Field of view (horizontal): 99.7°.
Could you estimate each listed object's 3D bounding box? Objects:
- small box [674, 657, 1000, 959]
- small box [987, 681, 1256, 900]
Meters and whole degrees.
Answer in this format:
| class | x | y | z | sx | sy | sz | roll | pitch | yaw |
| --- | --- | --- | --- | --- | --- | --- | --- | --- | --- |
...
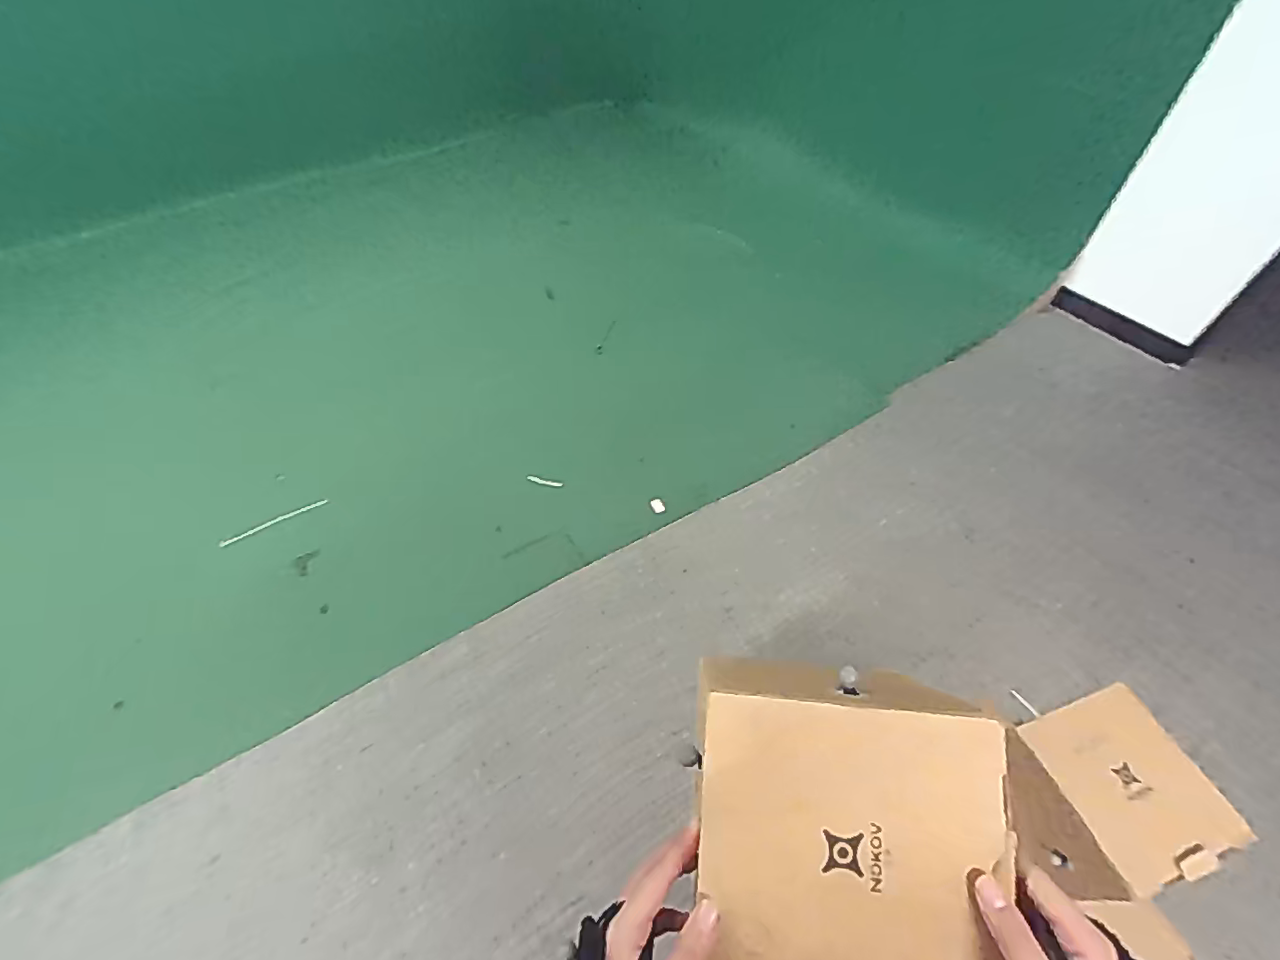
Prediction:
| class | x | y | z | sx | sy | sz | roll | pitch | yaw |
| --- | --- | --- | --- | --- | --- | --- | --- | --- | --- |
| small box | 0.118 | 0.225 | 0.387 | 0.179 | 0.176 | 0.168 | 3 | 79 | 5 |
| small box | 0.548 | 0.382 | 0.666 | 0.168 | 0.176 | 0.179 | -17 | 52 | -11 |
